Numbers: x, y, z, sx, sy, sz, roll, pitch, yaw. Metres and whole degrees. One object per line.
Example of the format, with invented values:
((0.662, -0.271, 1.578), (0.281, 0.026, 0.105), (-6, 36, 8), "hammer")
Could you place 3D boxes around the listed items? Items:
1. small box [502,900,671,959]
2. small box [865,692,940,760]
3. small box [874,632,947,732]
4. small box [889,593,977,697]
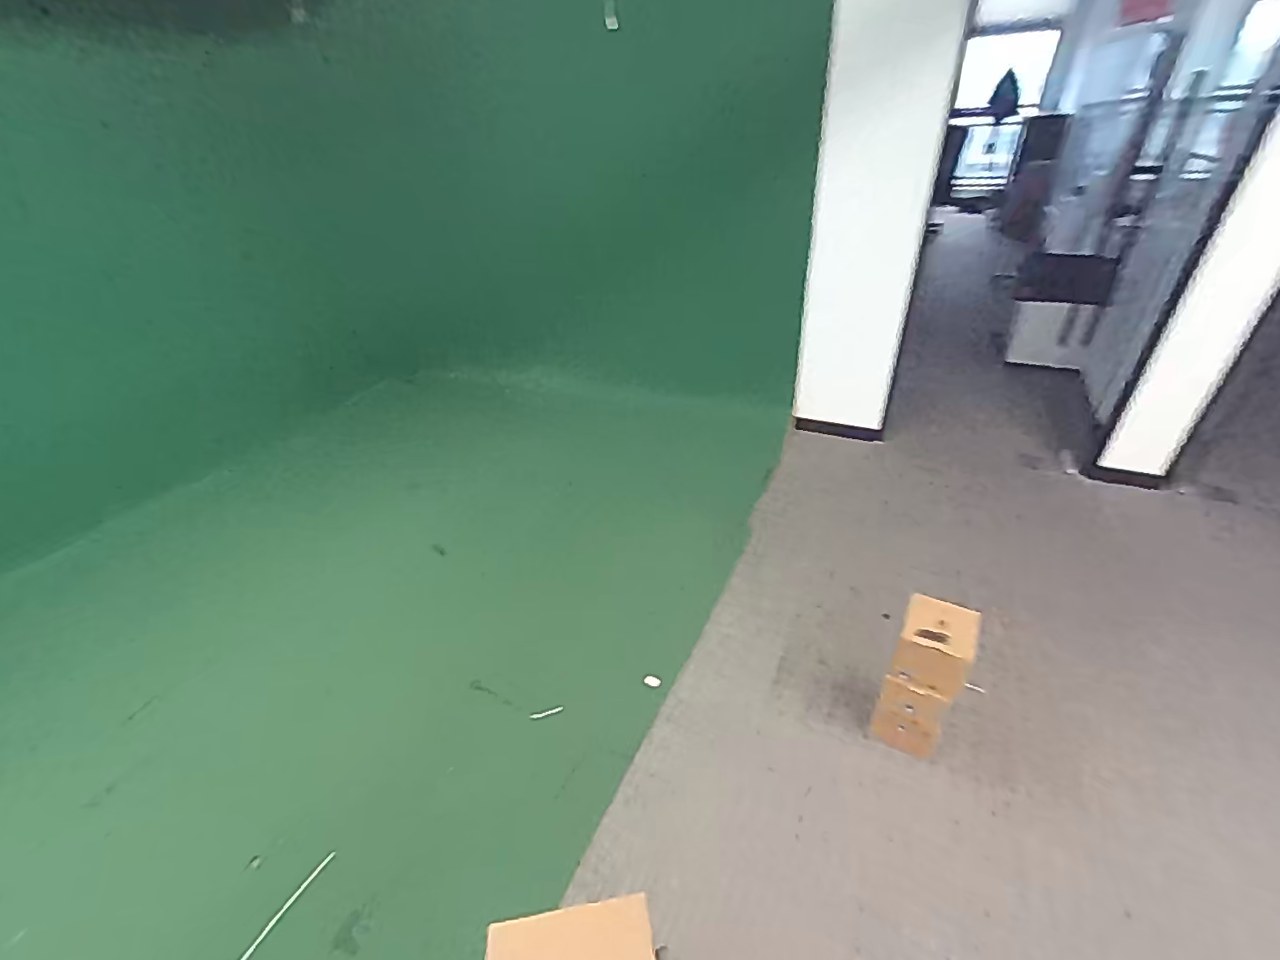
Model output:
((-0.049, 0.555, 0.537), (0.168, 0.176, 0.179), (-4, 36, 2), "small box")
((0.799, 0.708, 1.638), (0.179, 0.176, 0.168), (18, 42, 28), "small box")
((0.780, 0.577, 1.542), (0.168, 0.176, 0.179), (17, 43, 28), "small box")
((0.779, 0.442, 1.446), (0.168, 0.176, 0.179), (16, 41, 27), "small box")
